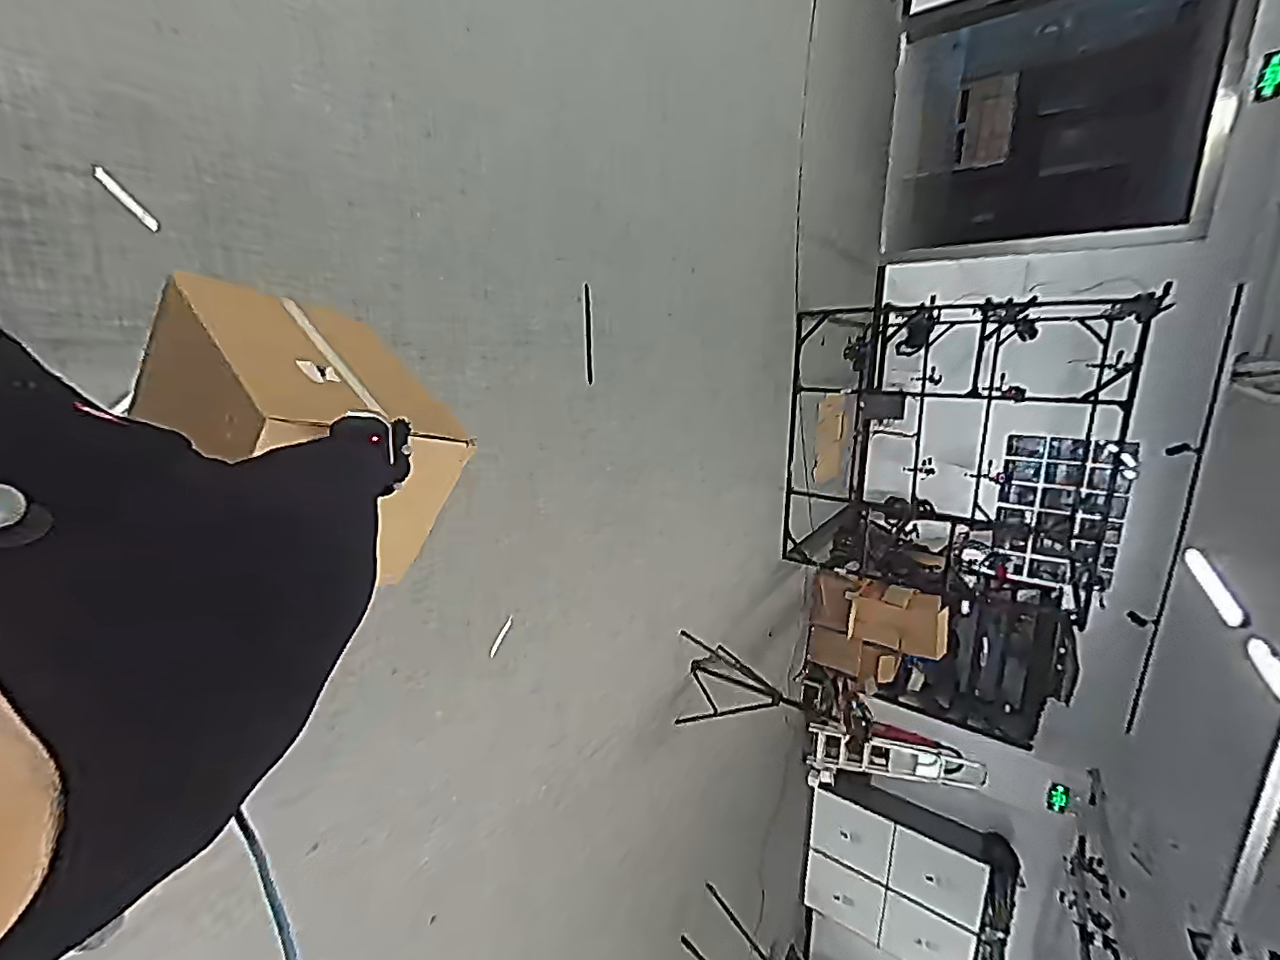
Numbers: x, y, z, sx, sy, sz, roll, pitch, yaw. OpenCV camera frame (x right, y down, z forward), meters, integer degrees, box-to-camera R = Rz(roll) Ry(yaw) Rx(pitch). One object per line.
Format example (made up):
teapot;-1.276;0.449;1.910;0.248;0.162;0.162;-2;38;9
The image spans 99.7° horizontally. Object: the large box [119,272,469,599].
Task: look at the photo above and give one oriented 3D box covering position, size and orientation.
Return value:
large box;-0.574;-0.068;0.896;0.320;0.408;0.320;-56;153;17
